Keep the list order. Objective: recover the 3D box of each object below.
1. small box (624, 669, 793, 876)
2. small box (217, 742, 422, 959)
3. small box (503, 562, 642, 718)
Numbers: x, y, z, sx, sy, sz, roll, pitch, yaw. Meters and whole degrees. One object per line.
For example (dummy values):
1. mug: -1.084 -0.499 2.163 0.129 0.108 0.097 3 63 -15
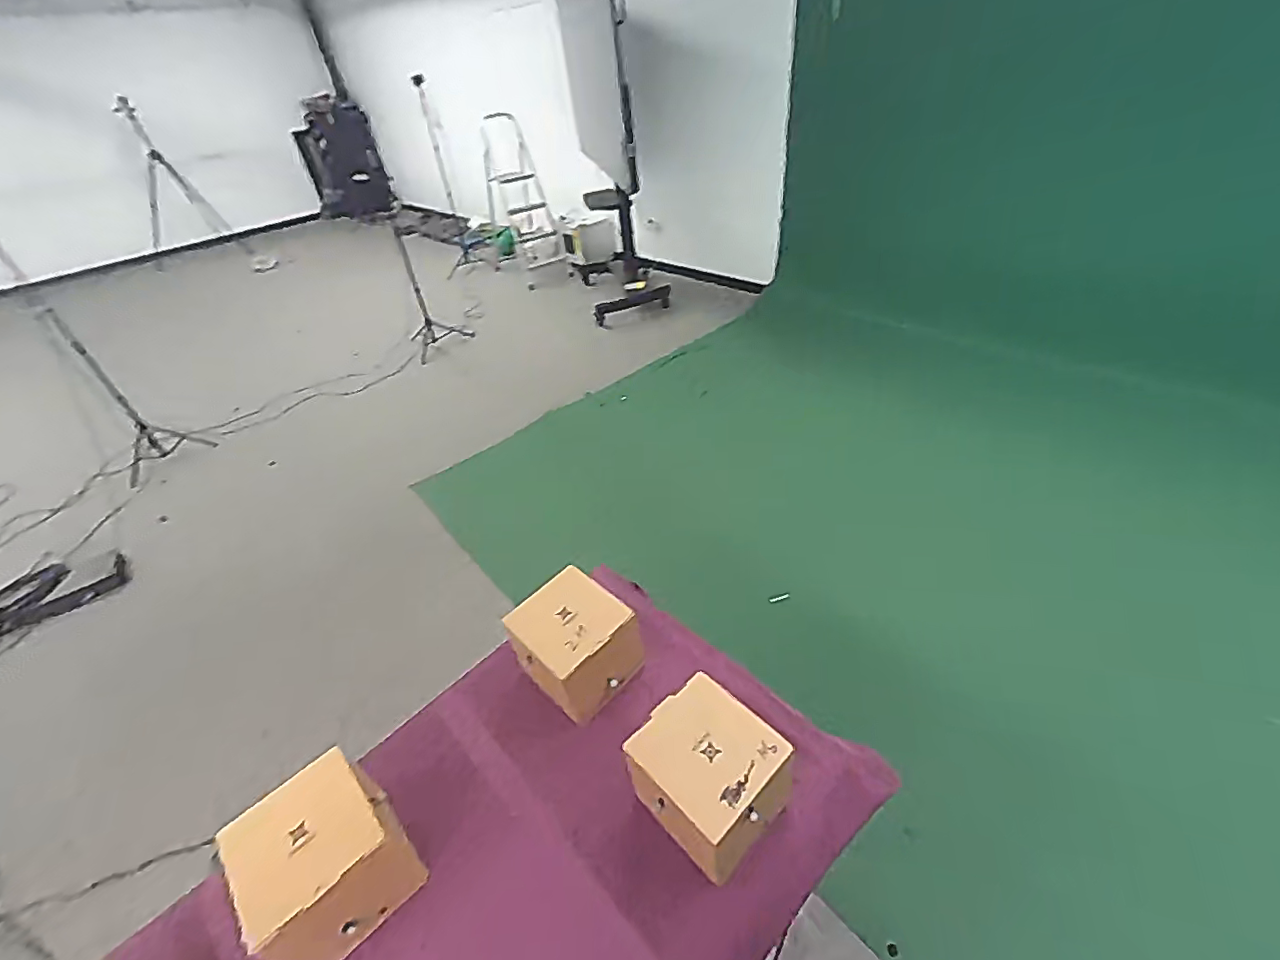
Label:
1. small box: 0.100 0.425 0.790 0.168 0.176 0.179 -34 44 -28
2. small box: -0.437 0.519 0.753 0.168 0.176 0.179 -34 48 -30
3. small box: -0.117 0.290 0.982 0.179 0.176 0.168 30 54 35
